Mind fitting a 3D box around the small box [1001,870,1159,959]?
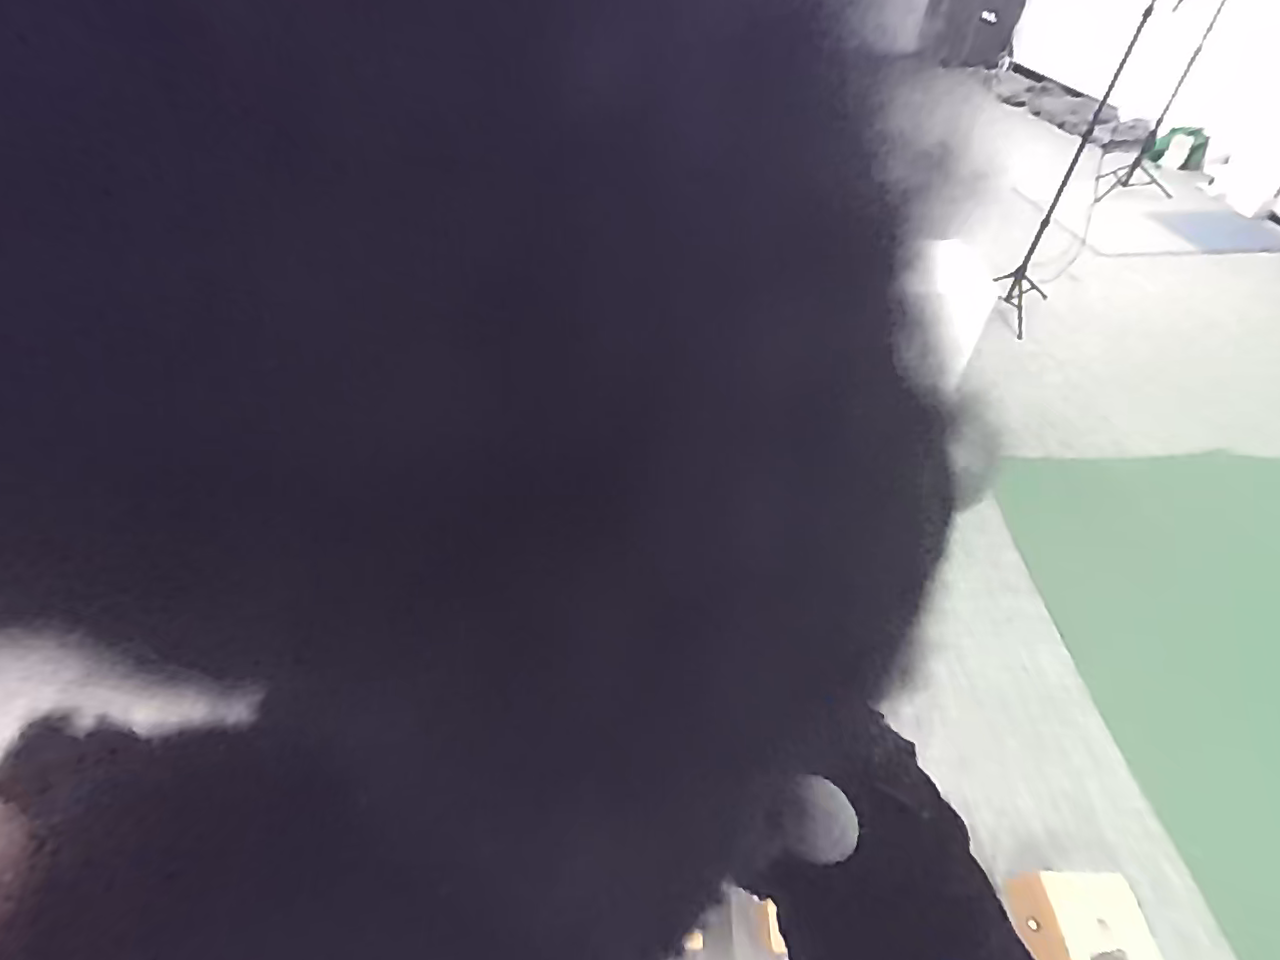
[{"bbox_3d":[0.854,0.887,1.057,0.168,0.176,0.179,2,47,3],"label":"small box"}]
